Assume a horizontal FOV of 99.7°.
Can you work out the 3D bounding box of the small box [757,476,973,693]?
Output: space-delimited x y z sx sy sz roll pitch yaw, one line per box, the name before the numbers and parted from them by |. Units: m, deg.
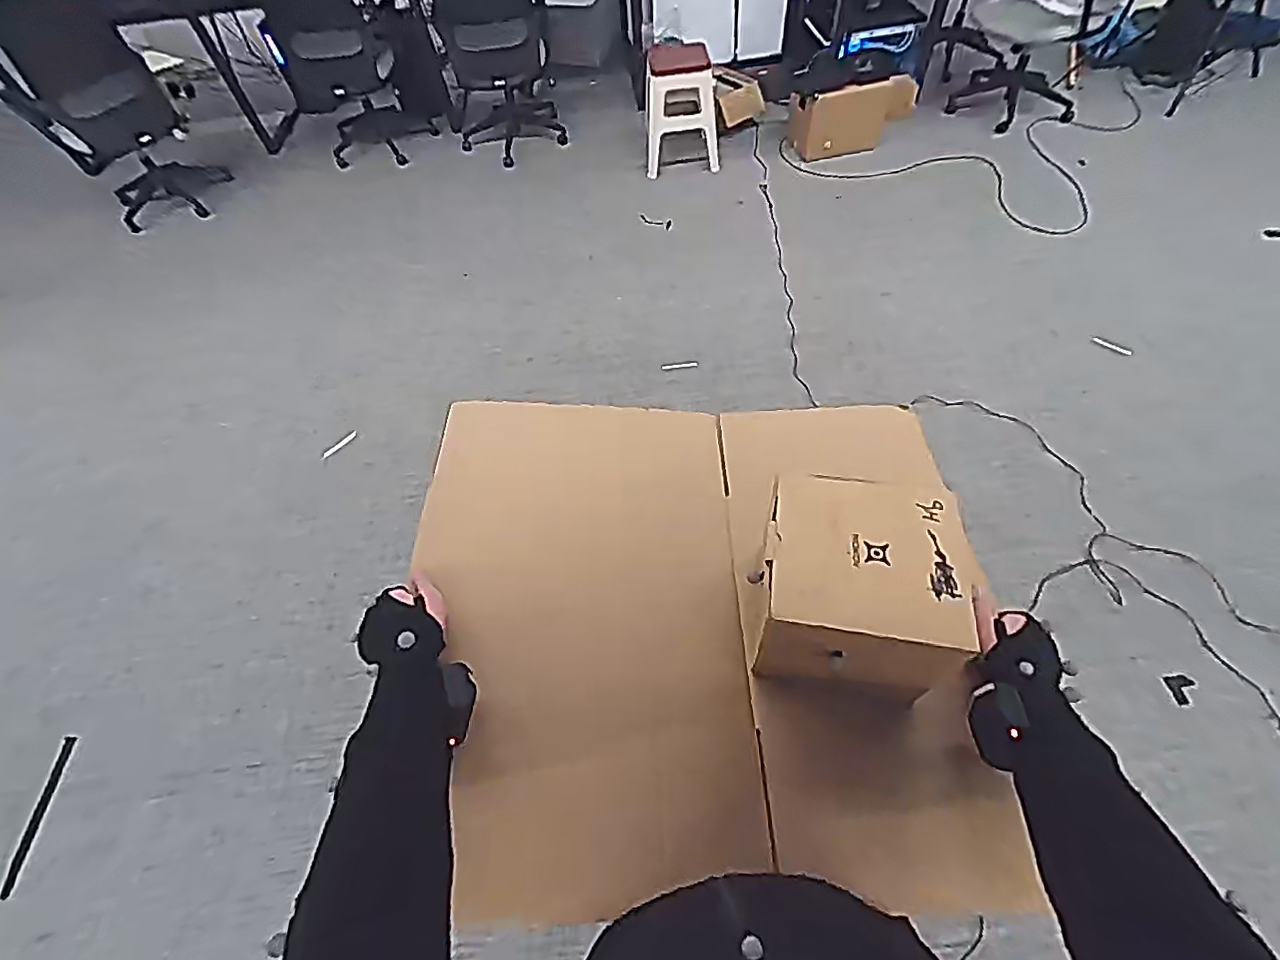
small box | 0.223 0.116 0.581 0.179 0.176 0.168 6 56 11
